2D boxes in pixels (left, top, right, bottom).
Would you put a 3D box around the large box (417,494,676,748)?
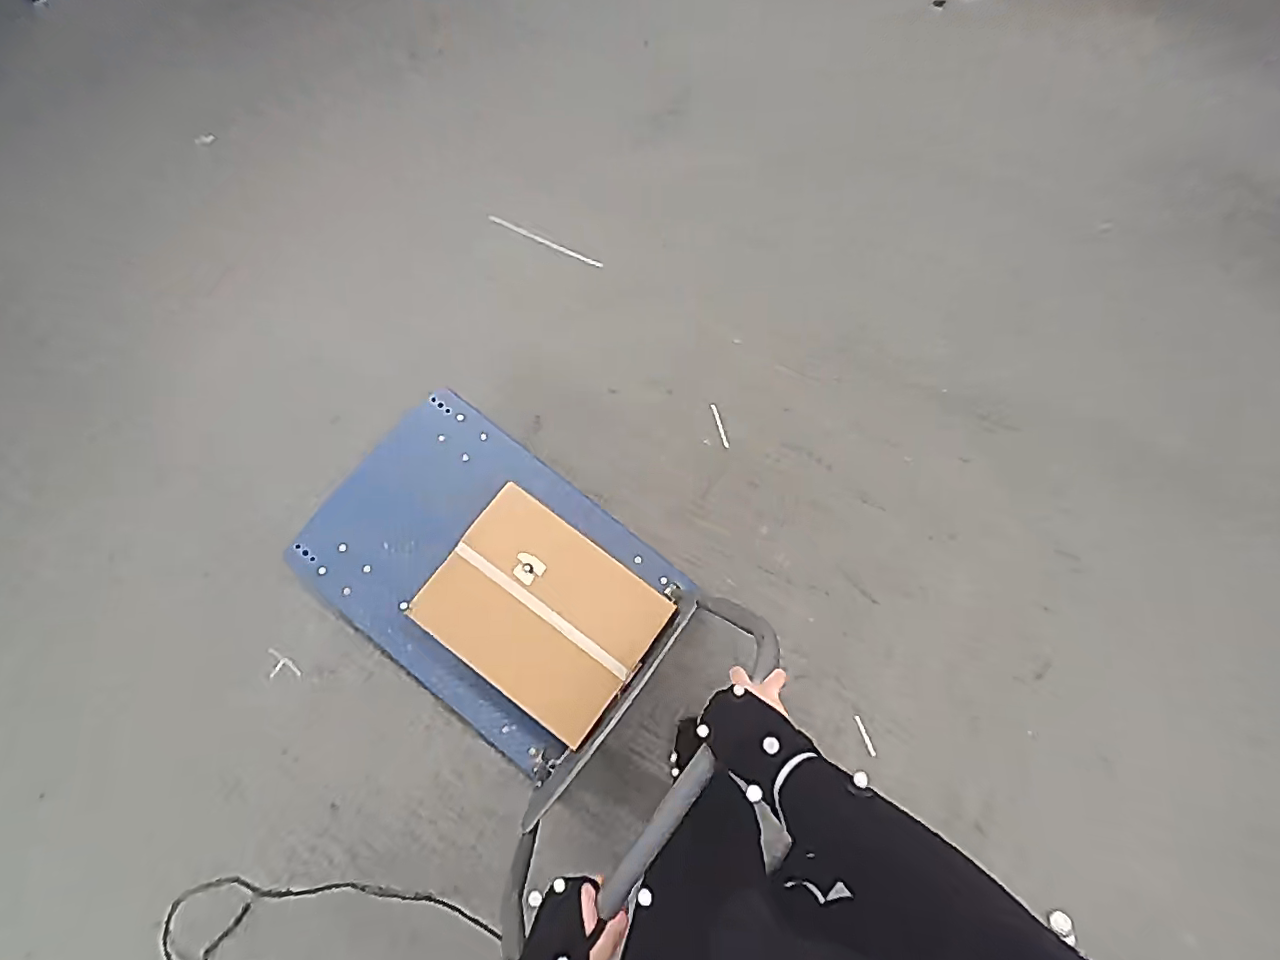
[{"bbox_3d":[-0.175,0.287,1.171,0.408,0.320,0.320,36,80,6],"label":"large box"}]
